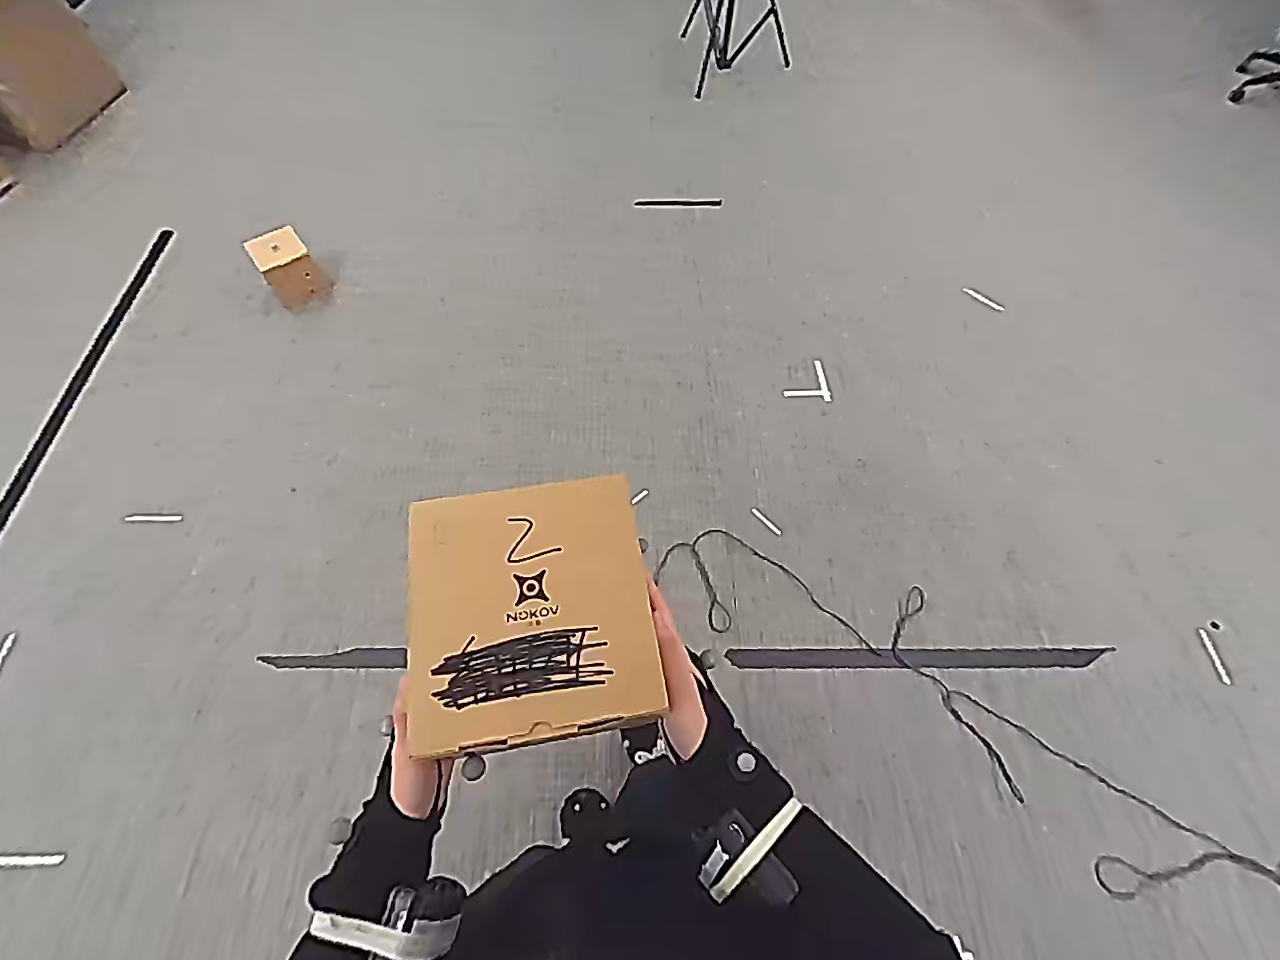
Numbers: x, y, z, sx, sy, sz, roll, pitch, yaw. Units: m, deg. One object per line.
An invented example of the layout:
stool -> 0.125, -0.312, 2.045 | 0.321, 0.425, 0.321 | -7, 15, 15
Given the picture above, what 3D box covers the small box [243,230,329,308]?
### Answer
small box -> -1.240, -0.734, 1.905 | 0.168, 0.176, 0.179 | -35, 67, -20
